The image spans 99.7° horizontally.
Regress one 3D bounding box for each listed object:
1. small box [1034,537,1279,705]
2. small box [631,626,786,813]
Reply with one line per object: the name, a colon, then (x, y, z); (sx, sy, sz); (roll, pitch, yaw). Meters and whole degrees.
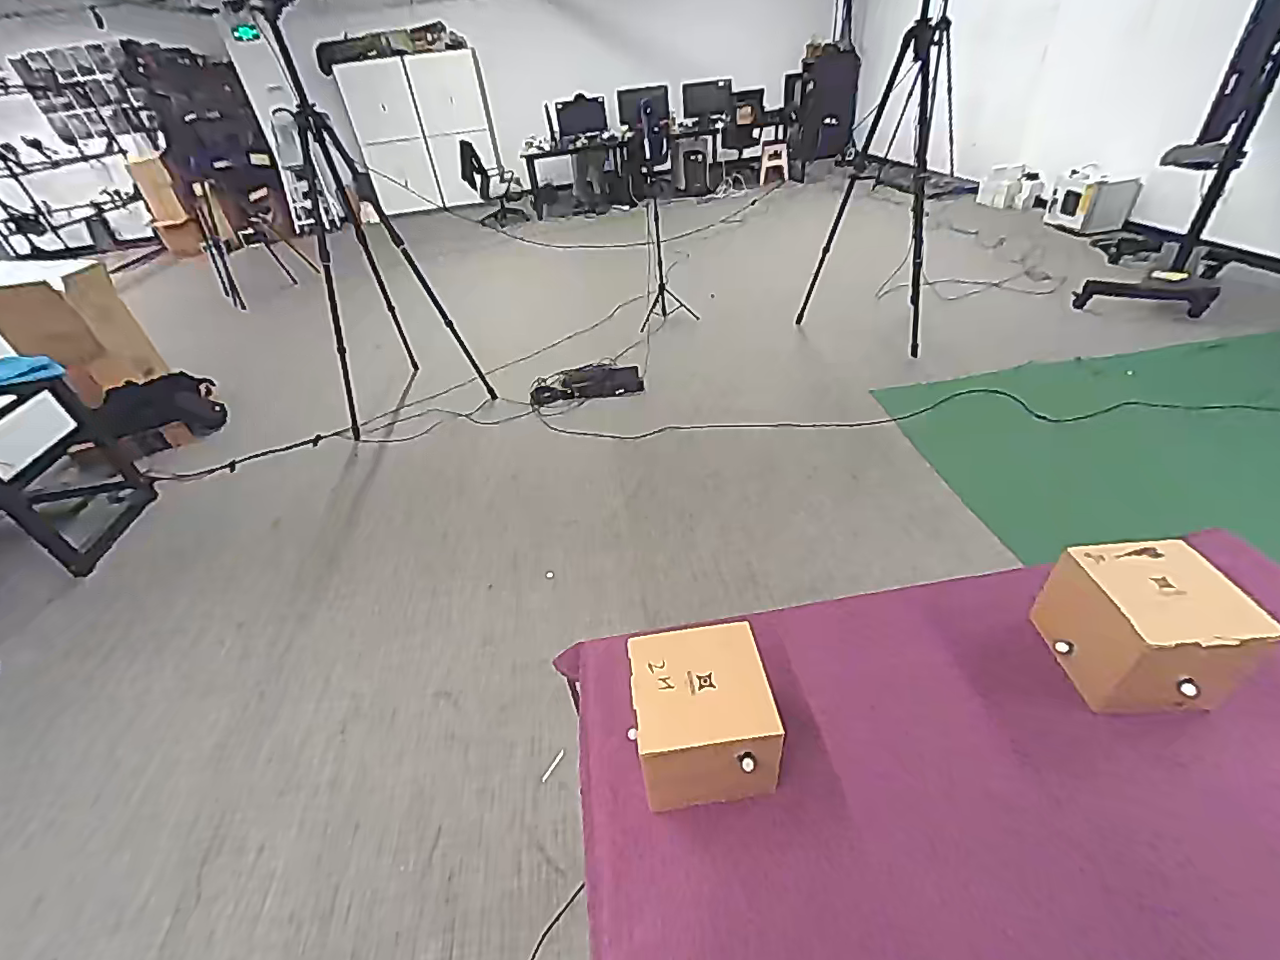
small box: (0.719, 0.207, 0.776); (0.168, 0.176, 0.179); (-5, 38, 4)
small box: (0.087, 0.329, 0.745); (0.179, 0.176, 0.168); (-9, 37, -1)
